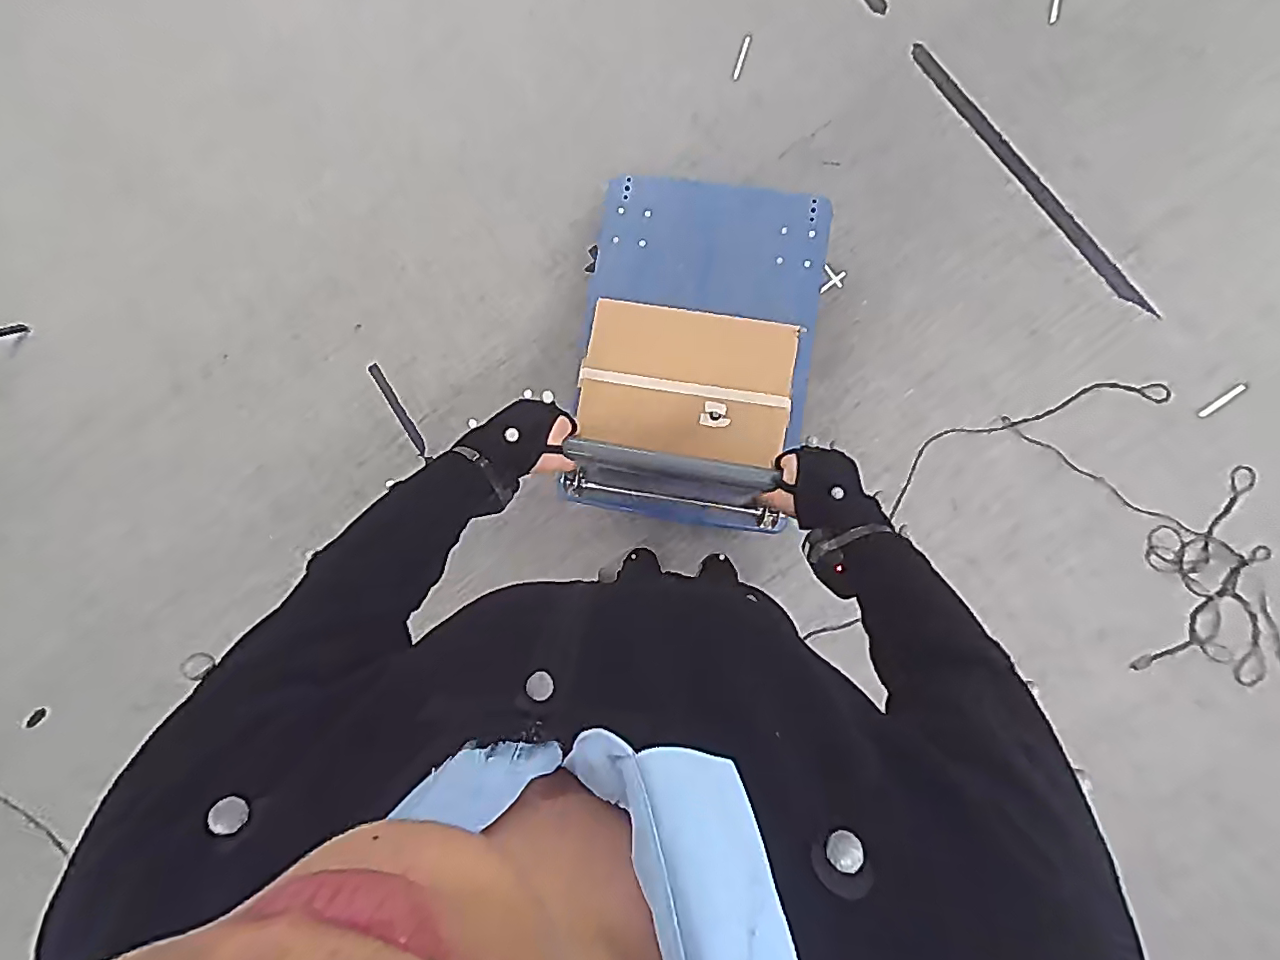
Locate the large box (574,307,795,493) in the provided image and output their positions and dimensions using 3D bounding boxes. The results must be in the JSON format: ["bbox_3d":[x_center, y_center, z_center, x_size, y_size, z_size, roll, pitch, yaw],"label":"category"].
[{"bbox_3d":[0.092,-0.157,1.206,0.408,0.320,0.320,9,87,3],"label":"large box"}]
